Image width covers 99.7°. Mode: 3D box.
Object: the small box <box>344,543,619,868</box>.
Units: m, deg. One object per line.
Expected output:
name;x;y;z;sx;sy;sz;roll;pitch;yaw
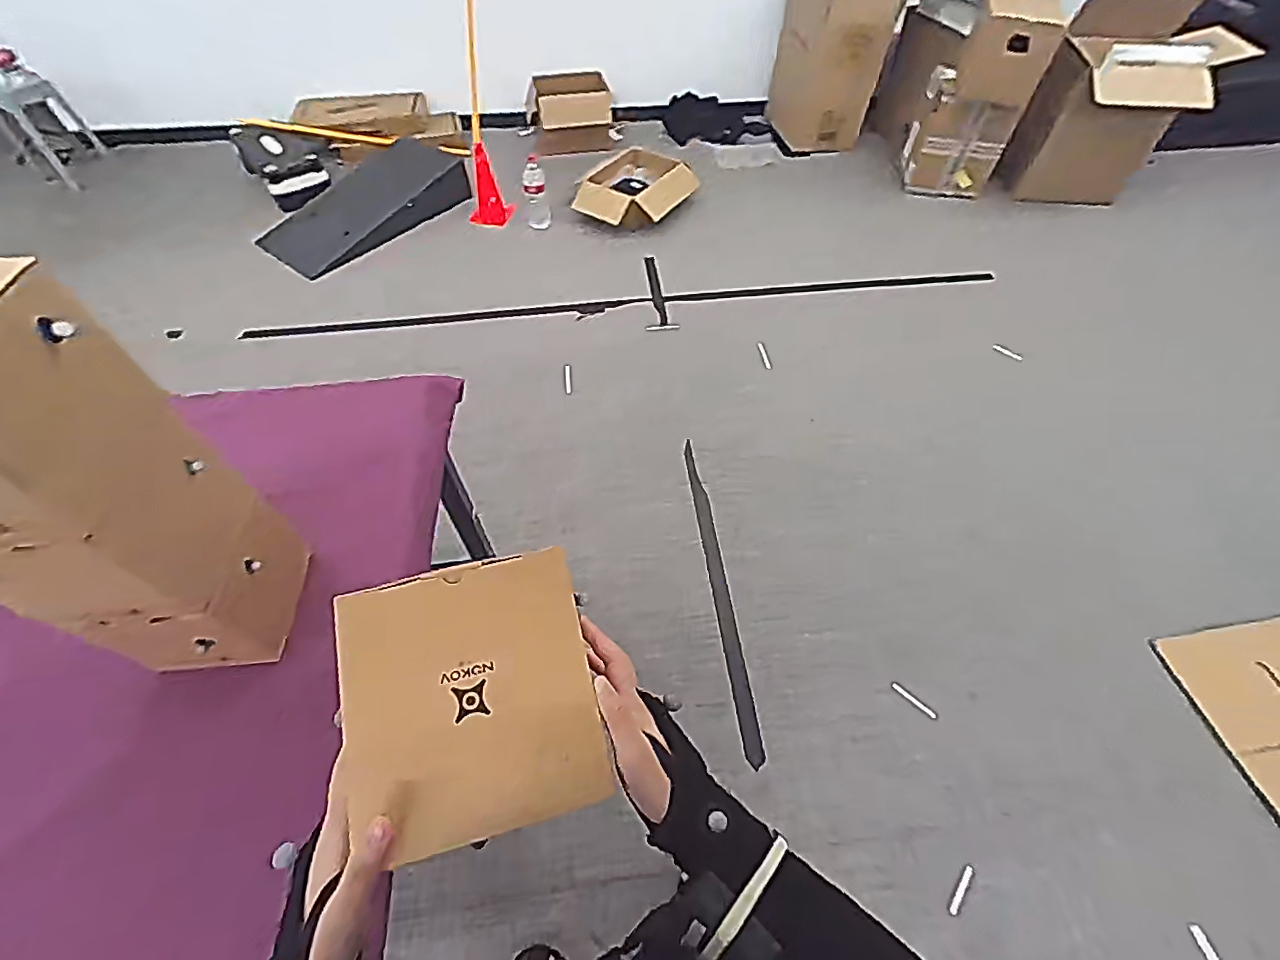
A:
small box;-0.117;0.171;0.442;0.168;0.176;0.179;-12;68;-11

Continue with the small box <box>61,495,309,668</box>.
small box;-0.582;0.142;0.727;0.168;0.176;0.179;-4;53;-4

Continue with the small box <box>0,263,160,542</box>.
small box;-0.579;-0.061;0.467;0.168;0.176;0.179;-5;54;-4
